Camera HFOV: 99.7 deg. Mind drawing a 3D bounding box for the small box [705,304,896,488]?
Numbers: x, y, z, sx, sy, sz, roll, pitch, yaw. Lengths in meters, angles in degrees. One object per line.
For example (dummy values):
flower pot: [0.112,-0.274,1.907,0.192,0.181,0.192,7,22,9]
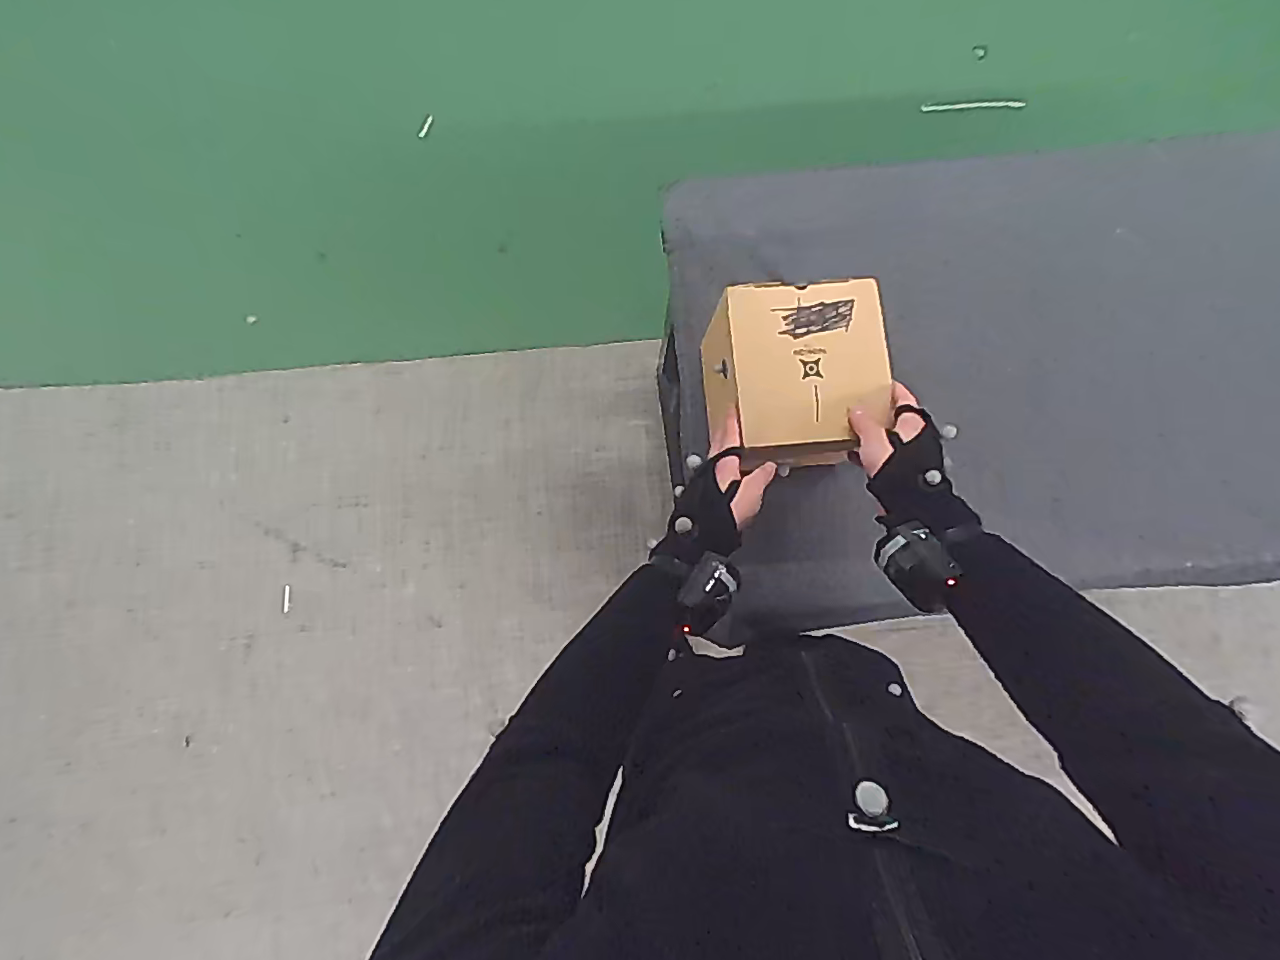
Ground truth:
small box: [0.177,-0.091,0.652,0.168,0.176,0.179,-4,82,-4]
